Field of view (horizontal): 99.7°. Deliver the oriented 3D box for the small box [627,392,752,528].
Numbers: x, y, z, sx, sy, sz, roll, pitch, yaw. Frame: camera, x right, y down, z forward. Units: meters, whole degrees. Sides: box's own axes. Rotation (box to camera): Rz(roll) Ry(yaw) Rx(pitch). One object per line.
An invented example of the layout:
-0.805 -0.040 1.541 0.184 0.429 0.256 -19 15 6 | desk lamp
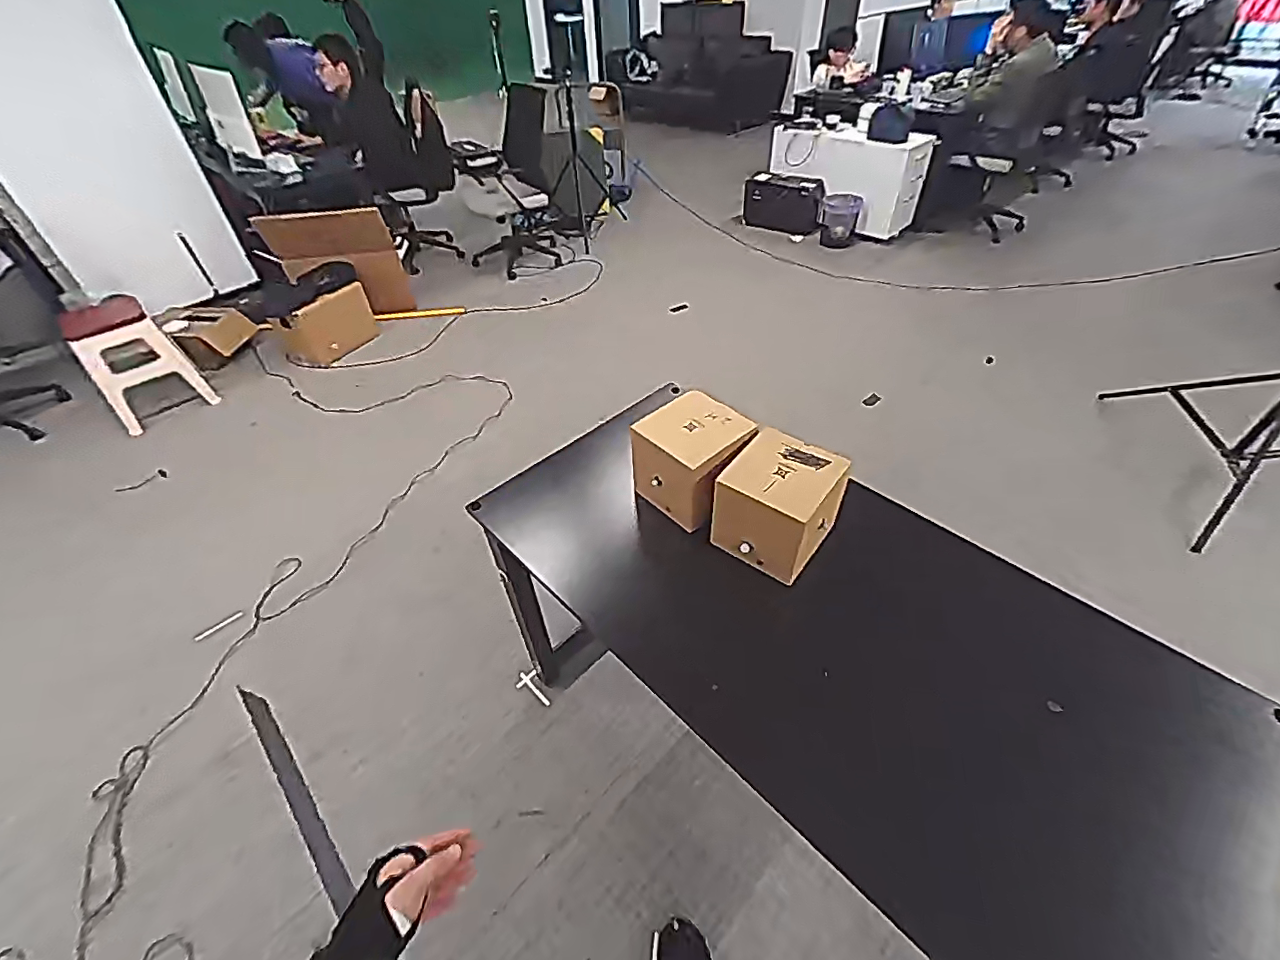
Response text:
0.096 -0.038 1.052 0.179 0.176 0.168 -33 52 -28 | small box
